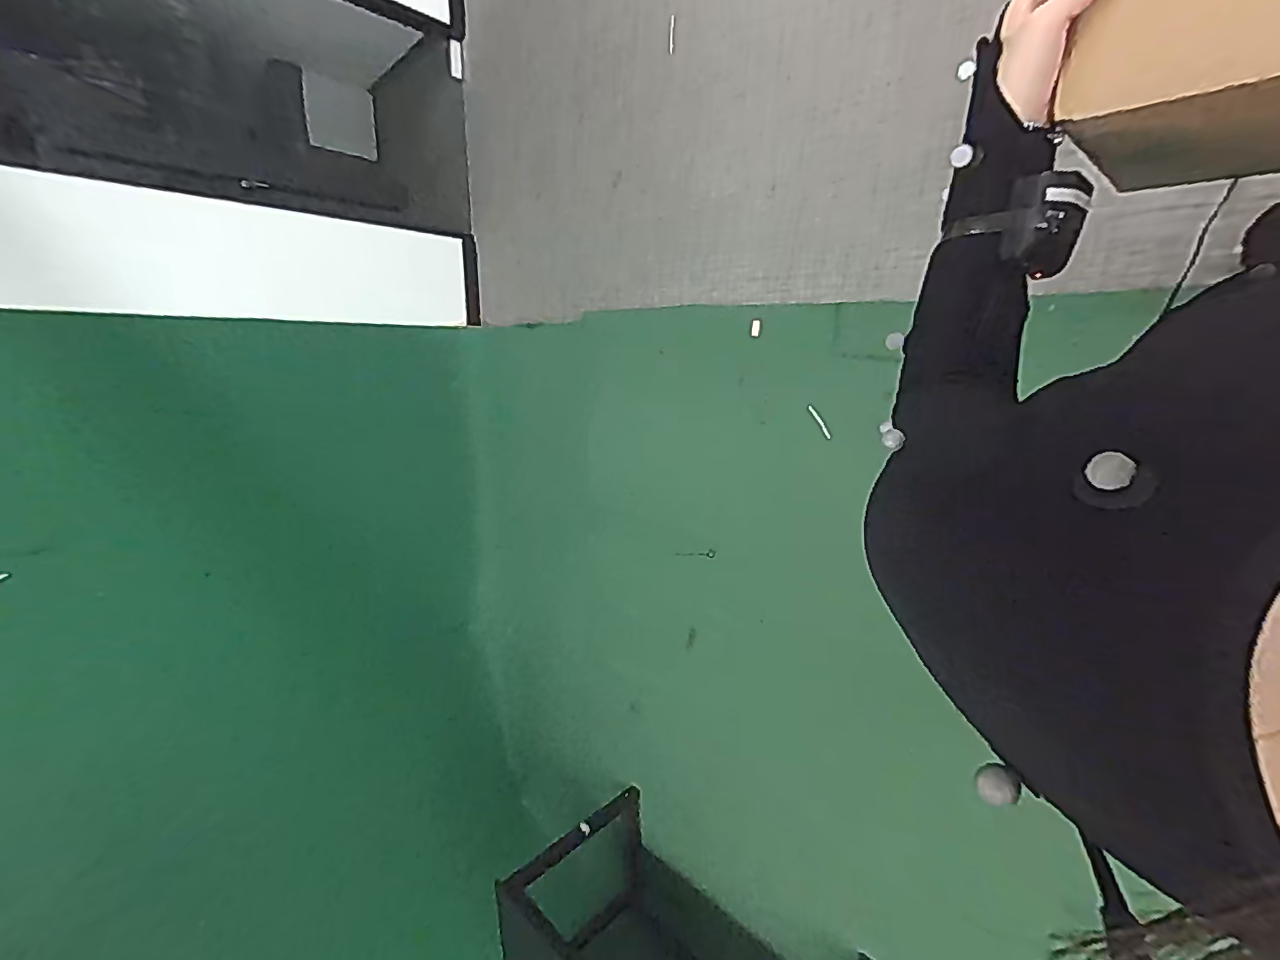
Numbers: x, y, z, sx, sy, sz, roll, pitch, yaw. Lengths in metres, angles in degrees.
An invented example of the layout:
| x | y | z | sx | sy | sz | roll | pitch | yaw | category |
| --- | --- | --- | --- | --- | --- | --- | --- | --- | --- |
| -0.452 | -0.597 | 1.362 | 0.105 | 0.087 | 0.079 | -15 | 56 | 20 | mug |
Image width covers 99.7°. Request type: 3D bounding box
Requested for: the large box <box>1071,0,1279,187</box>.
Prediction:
| x | y | z | sx | sy | sz | roll | pitch | yaw | category |
| --- | --- | --- | --- | --- | --- | --- | --- | --- | --- |
| 0.550 | -0.405 | 0.317 | 0.408 | 0.320 | 0.320 | 15 | 112 | 44 | large box |
